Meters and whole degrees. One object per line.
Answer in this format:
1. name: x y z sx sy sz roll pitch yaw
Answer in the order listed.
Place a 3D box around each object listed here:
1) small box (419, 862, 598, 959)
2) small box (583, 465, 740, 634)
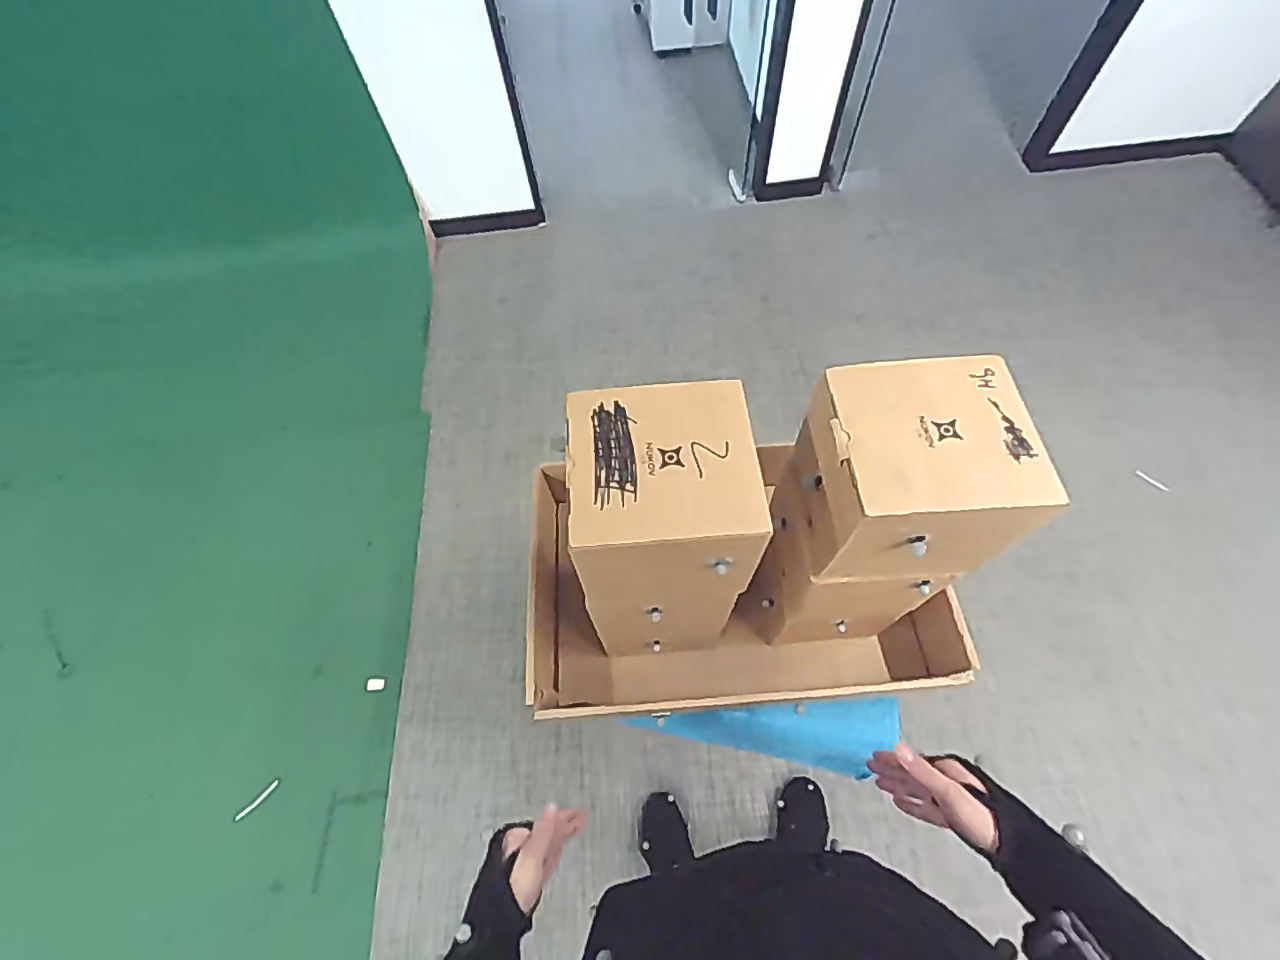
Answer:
1. small box: -0.100 0.447 0.413 0.179 0.176 0.168 -33 52 -26
2. small box: 0.024 0.098 0.705 0.179 0.176 0.168 -4 62 -1
